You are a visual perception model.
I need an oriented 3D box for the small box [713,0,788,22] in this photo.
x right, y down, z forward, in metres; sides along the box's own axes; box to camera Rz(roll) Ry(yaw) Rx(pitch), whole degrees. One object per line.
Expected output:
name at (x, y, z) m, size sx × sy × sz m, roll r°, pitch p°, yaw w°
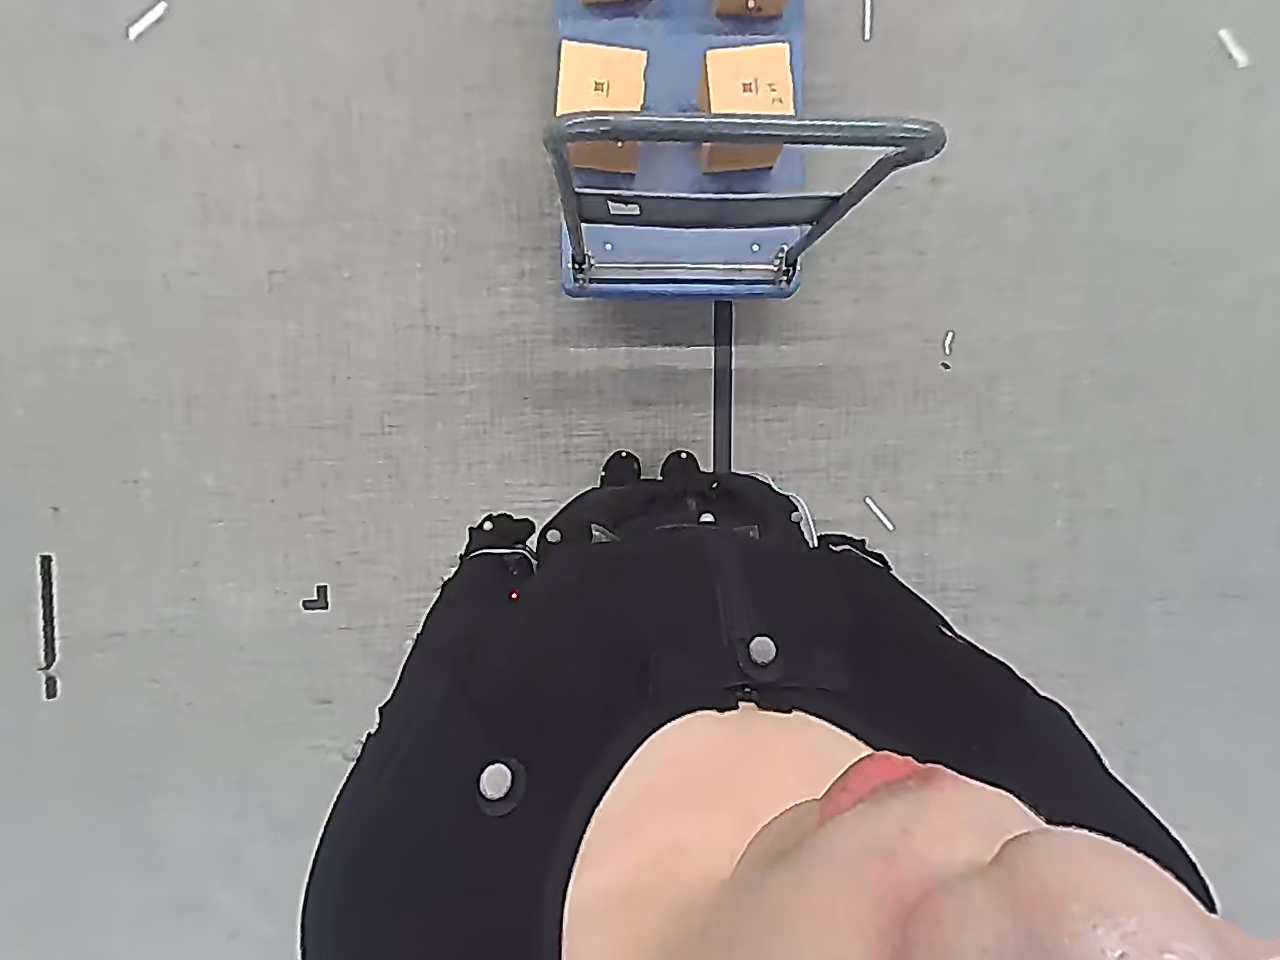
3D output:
small box at (0.253, -1.158, 1.178) m, size 0.168 × 0.176 × 0.179 m, roll 0°, pitch 94°, yaw -1°

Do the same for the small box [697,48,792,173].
small box at (0.223, -0.807, 1.198) m, size 0.179 × 0.176 × 0.168 m, roll -6°, pitch 94°, yaw -1°

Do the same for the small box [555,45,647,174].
small box at (-0.084, -0.803, 1.189) m, size 0.179 × 0.176 × 0.168 m, roll 5°, pitch 92°, yaw -3°
